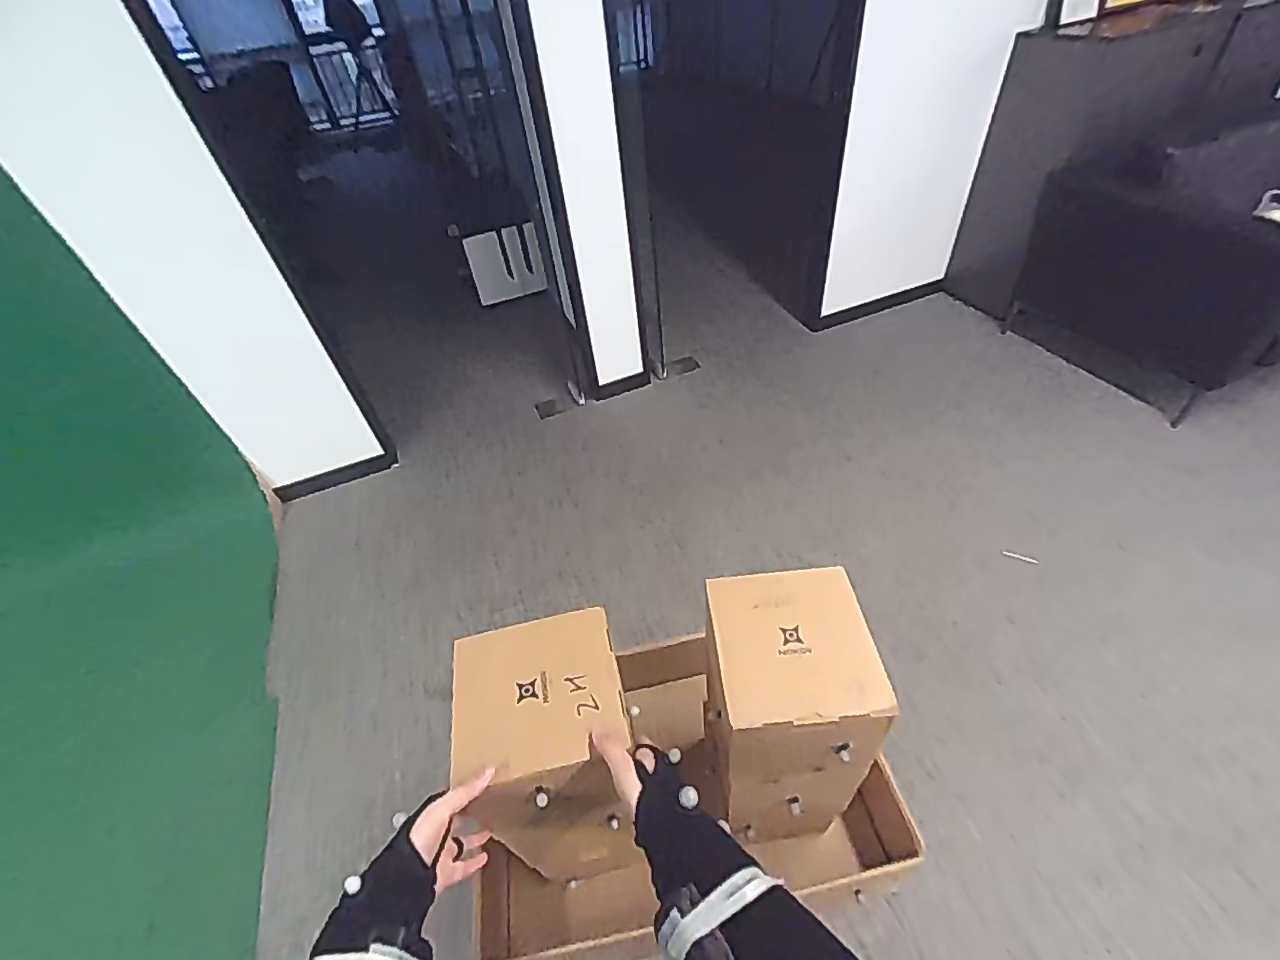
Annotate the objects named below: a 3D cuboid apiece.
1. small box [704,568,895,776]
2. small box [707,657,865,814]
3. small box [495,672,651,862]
[{"bbox_3d":[0.169,0.228,0.630,0.168,0.176,0.179,-6,43,2],"label":"small box"},{"bbox_3d":[0.188,0.343,0.746,0.168,0.176,0.179,-7,45,1],"label":"small box"},{"bbox_3d":[-0.090,0.395,0.742,0.179,0.176,0.168,-11,44,-5],"label":"small box"}]
